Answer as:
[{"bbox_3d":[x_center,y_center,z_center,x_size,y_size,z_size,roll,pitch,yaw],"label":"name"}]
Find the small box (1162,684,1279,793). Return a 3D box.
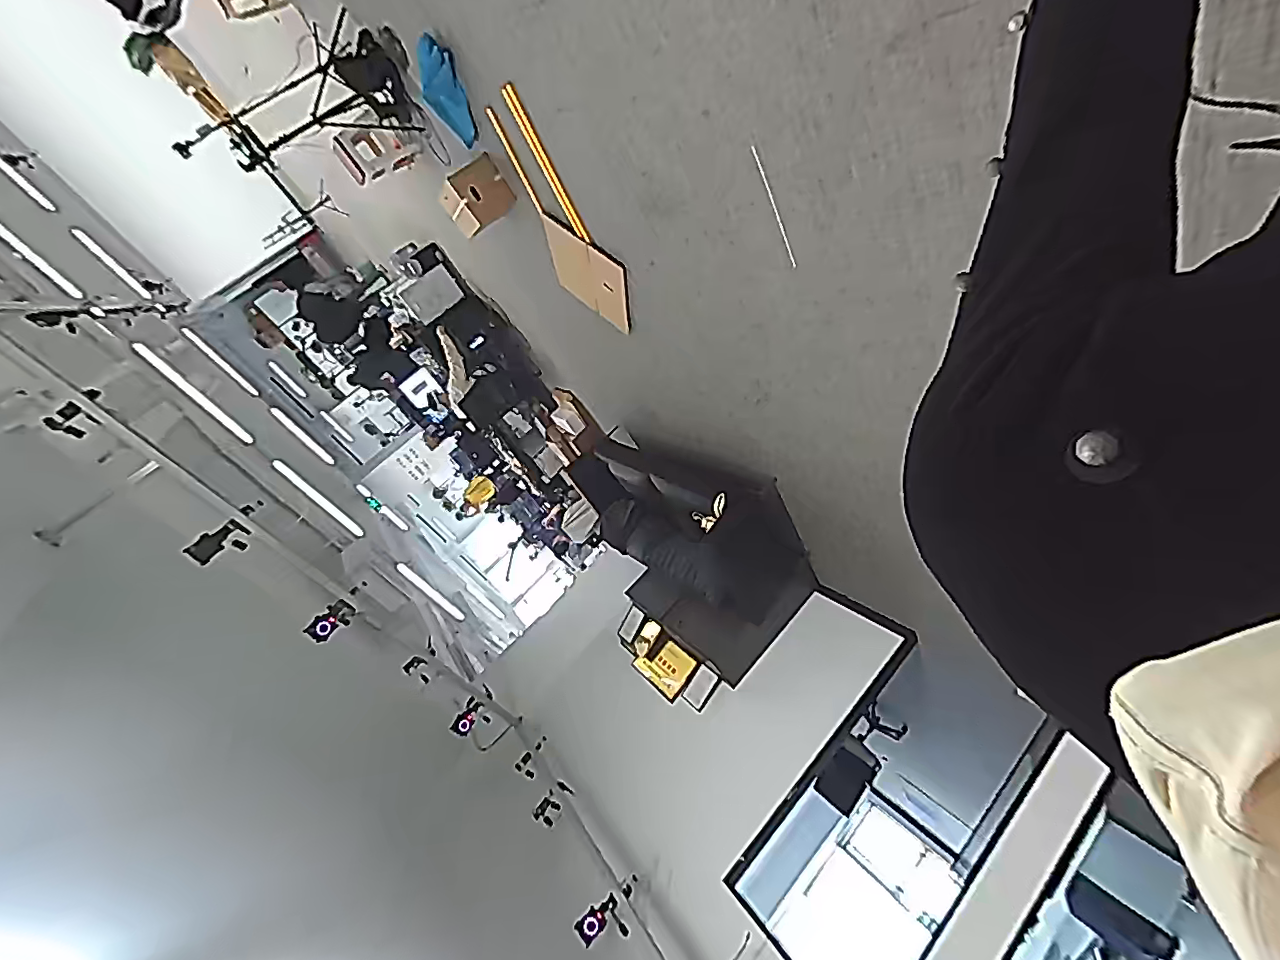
[{"bbox_3d":[1.537,0.674,1.424,0.168,0.176,0.179,31,160,46],"label":"small box"}]
